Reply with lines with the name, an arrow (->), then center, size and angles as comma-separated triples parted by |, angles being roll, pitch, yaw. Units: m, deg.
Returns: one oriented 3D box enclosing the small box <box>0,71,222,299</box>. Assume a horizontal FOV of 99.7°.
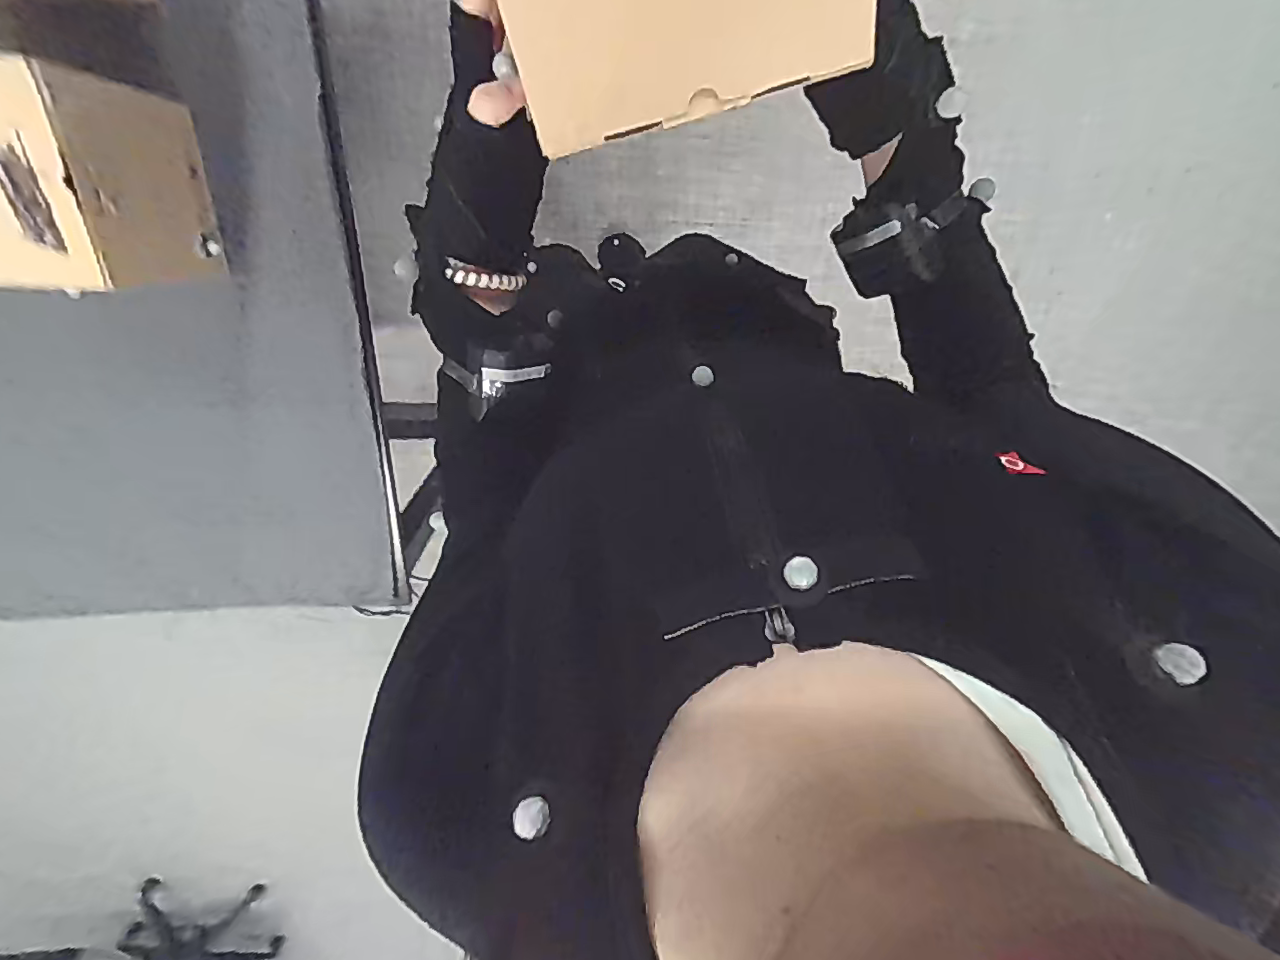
small box -> -0.540, -0.267, 0.508 | 0.179, 0.176, 0.168 | 1, 113, -3
